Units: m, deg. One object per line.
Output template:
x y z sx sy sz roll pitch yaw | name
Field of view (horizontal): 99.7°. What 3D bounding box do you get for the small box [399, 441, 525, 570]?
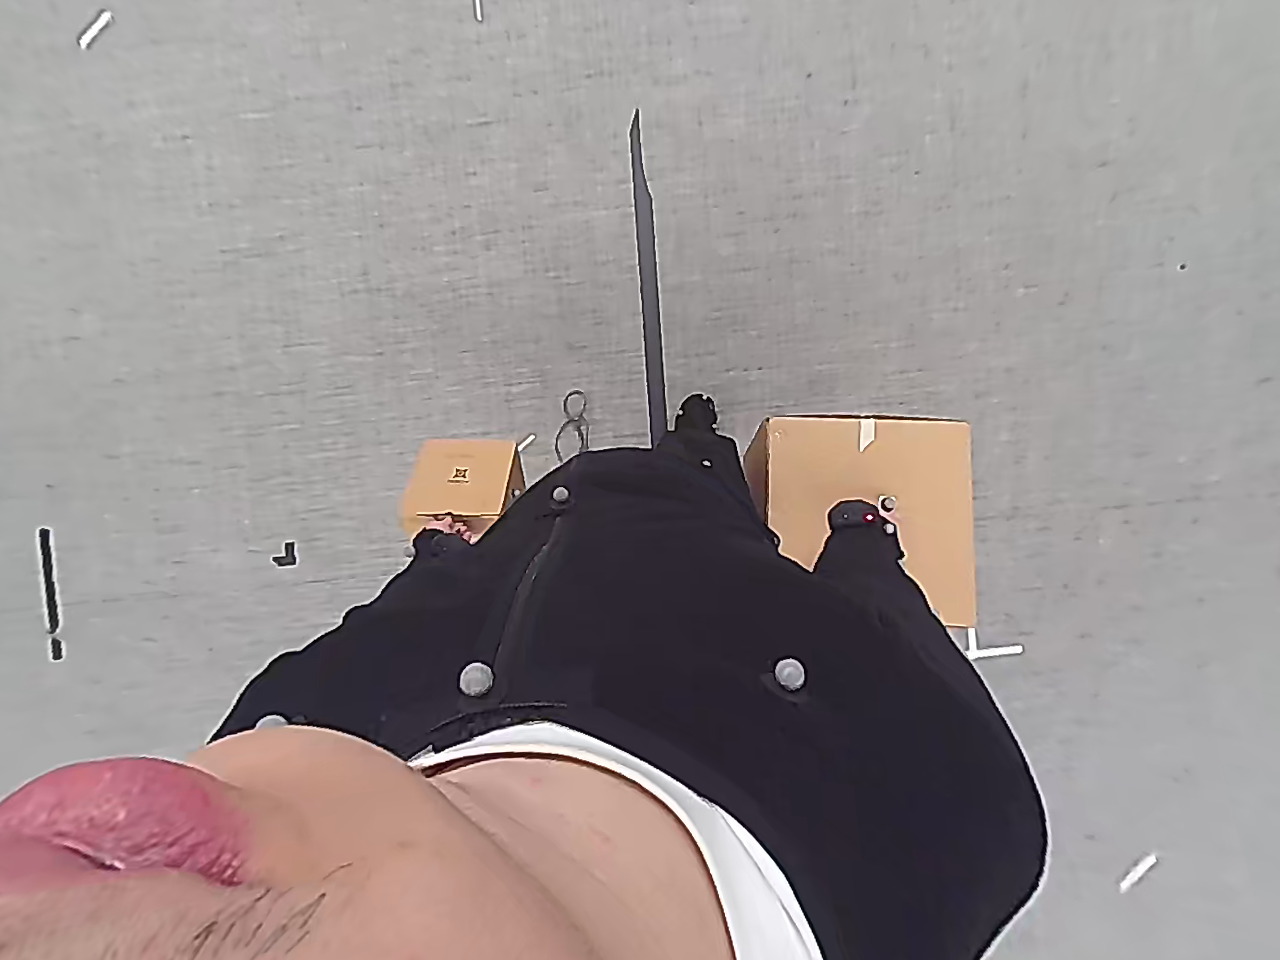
-0.307 0.050 0.977 0.168 0.176 0.179 2 48 -2 | small box
